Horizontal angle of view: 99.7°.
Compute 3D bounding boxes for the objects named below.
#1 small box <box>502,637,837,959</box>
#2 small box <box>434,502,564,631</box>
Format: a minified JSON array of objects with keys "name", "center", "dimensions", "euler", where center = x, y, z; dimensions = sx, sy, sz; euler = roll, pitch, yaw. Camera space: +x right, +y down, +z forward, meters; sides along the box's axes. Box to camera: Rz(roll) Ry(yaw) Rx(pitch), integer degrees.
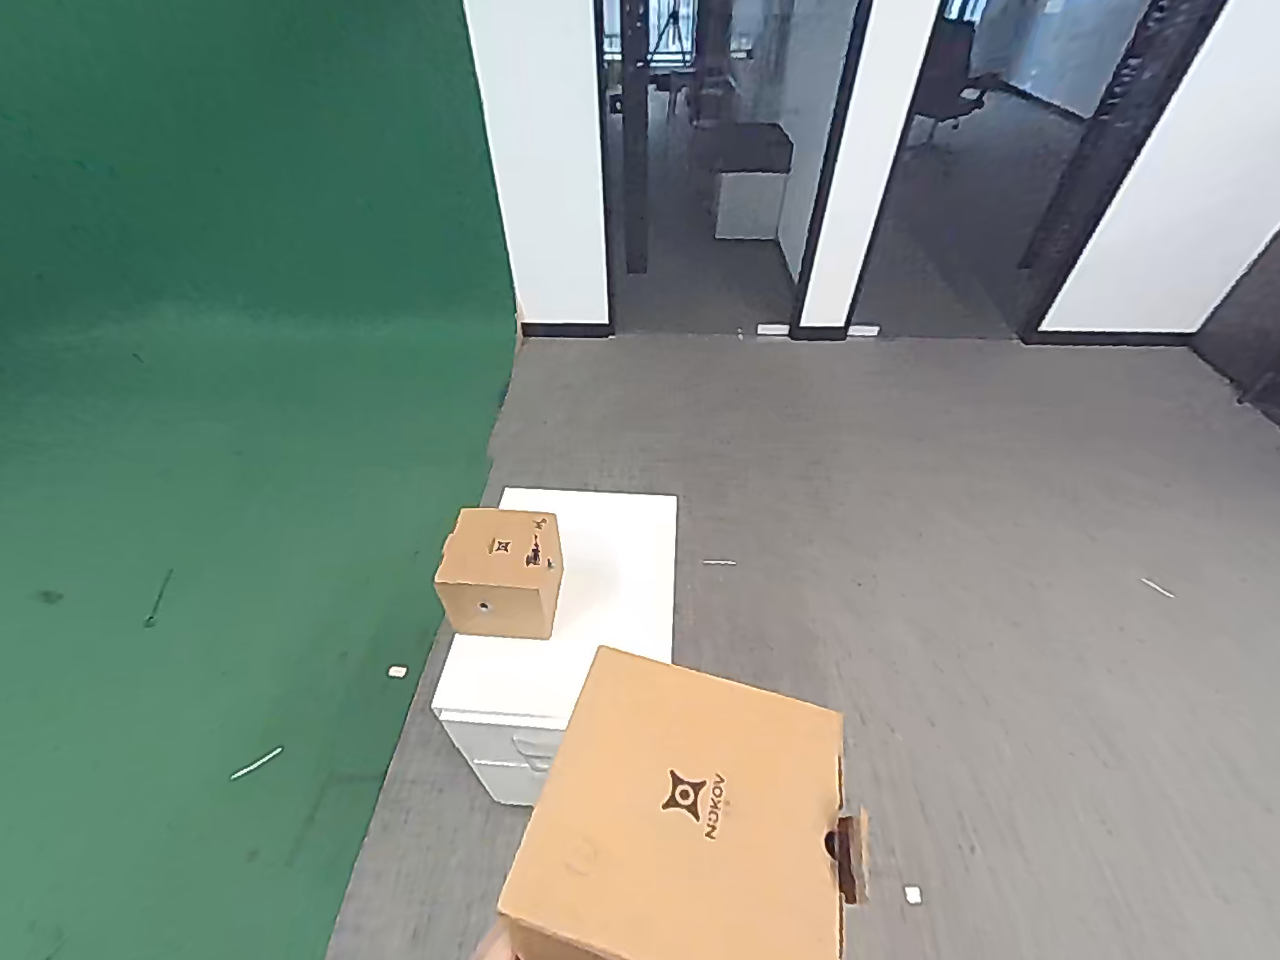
[{"name":"small box","center":[0.027,0.244,0.378],"dimensions":[0.179,0.176,0.168],"euler":[12,41,10]},{"name":"small box","center":[-0.241,0.158,0.976],"dimensions":[0.179,0.176,0.168],"euler":[3,47,2]}]
